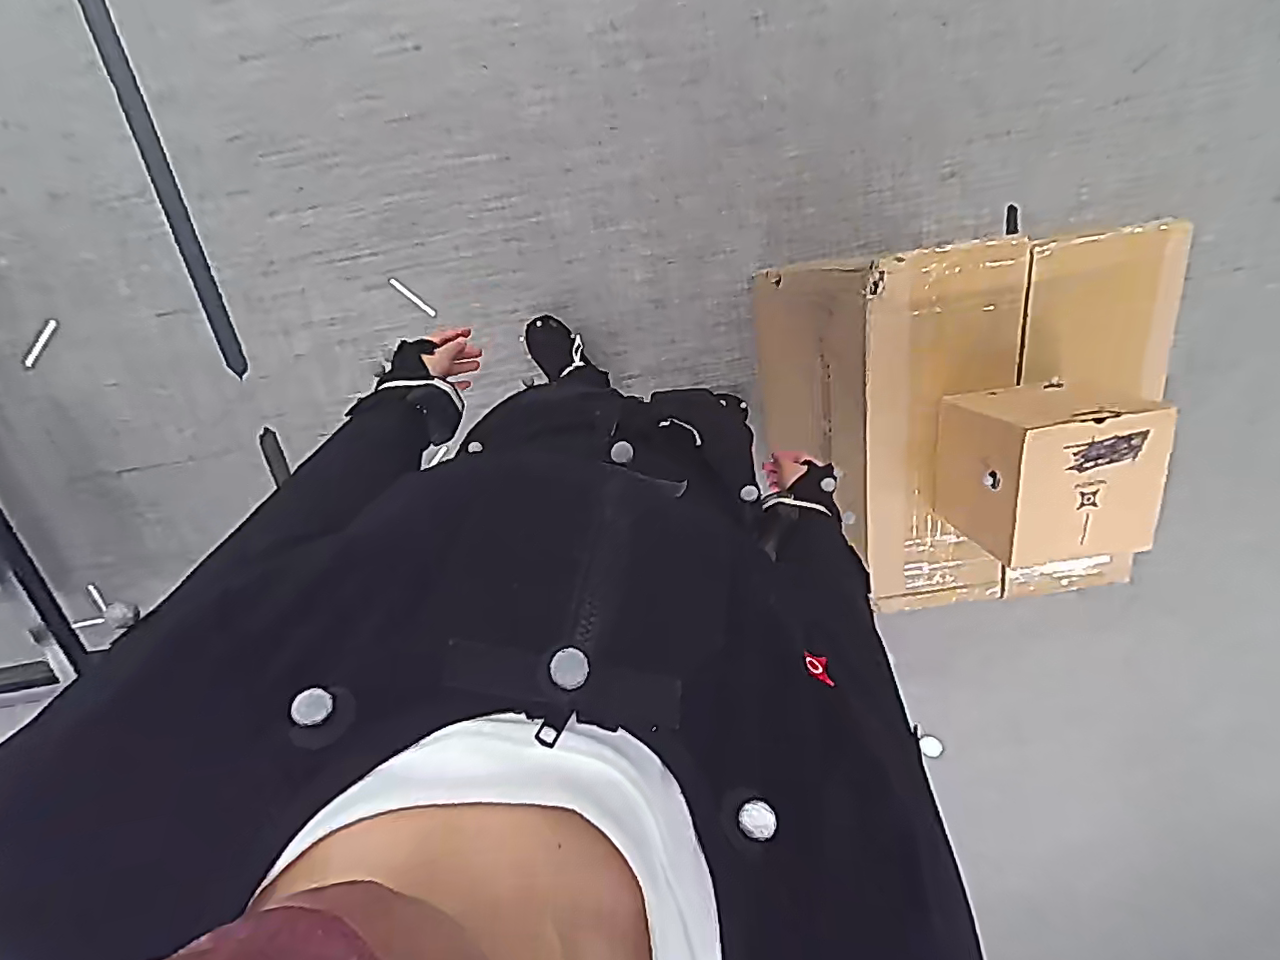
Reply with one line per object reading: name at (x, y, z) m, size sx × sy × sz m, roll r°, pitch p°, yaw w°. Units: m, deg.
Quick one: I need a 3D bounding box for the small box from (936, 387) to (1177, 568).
small box at (0.497, -0.014, 0.676) m, size 0.168 × 0.176 × 0.179 m, roll -8°, pitch 110°, yaw 1°
